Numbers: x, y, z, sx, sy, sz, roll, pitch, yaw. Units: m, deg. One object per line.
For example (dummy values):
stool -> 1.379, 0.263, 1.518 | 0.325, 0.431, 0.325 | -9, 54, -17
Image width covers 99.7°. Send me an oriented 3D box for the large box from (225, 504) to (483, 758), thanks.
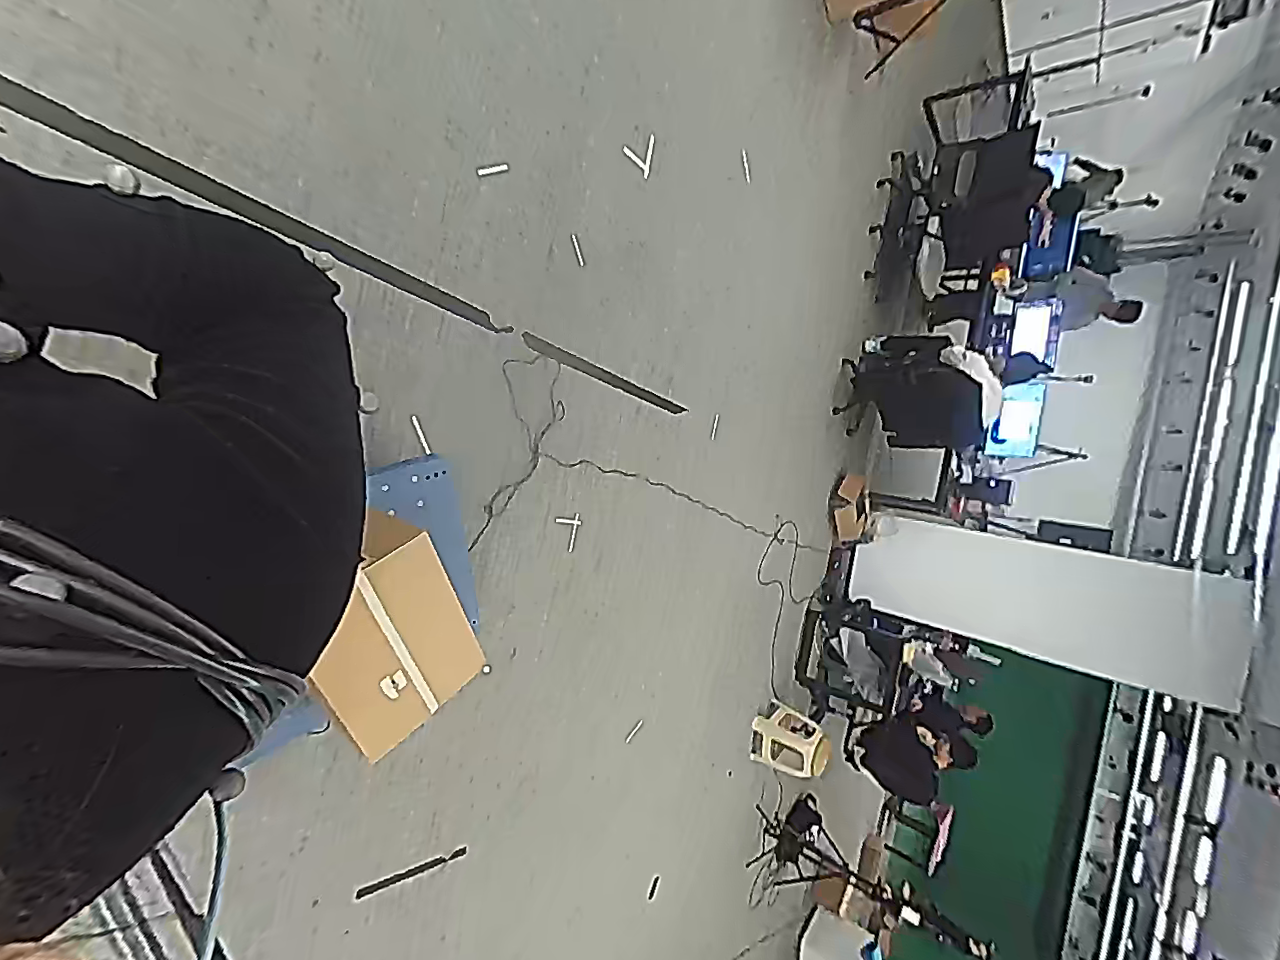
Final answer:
large box -> -0.629, 0.319, 1.224 | 0.320, 0.320, 0.408 | -37, 127, -39
